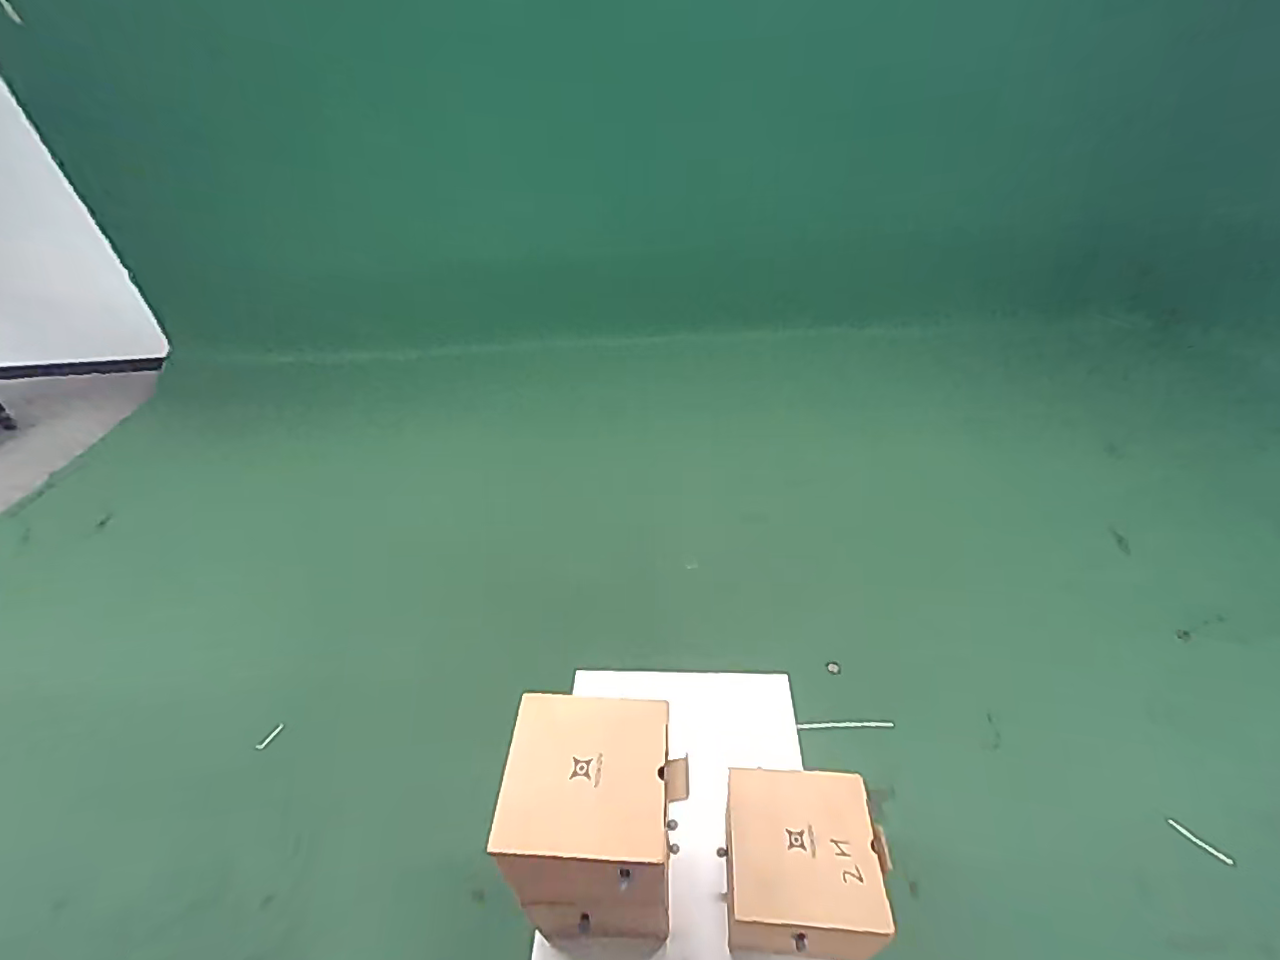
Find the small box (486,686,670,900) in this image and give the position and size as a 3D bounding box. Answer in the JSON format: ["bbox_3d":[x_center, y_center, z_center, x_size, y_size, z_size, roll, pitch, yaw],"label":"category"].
[{"bbox_3d":[-0.055,0.358,0.621,0.179,0.176,0.168,1,40,3],"label":"small box"}]

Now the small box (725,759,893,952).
[{"bbox_3d":[0.200,0.486,0.701,0.179,0.176,0.168,1,41,6],"label":"small box"}]

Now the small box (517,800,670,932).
[{"bbox_3d":[-0.049,0.484,0.725,0.179,0.176,0.168,-1,40,3],"label":"small box"}]
